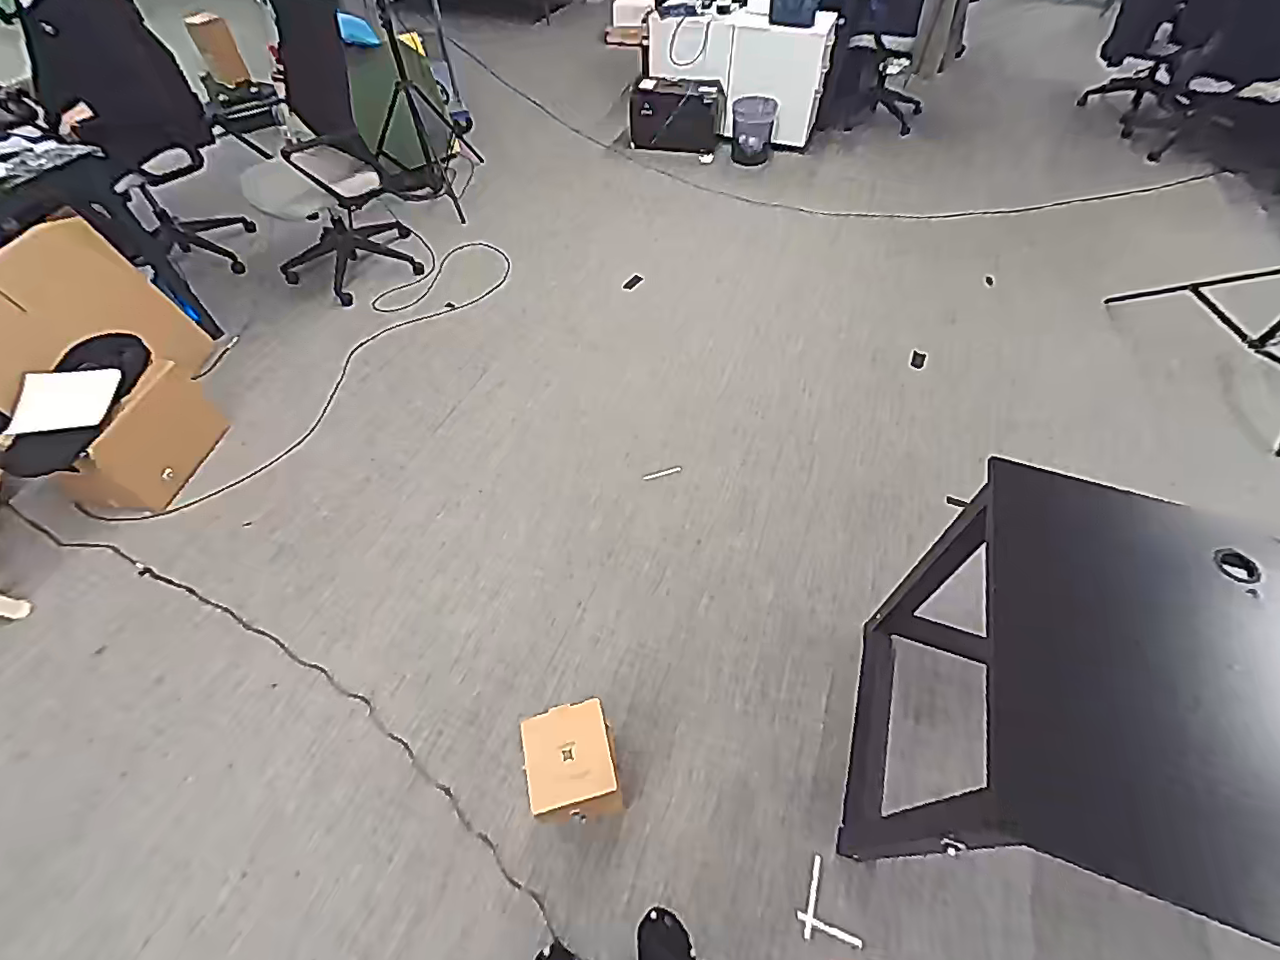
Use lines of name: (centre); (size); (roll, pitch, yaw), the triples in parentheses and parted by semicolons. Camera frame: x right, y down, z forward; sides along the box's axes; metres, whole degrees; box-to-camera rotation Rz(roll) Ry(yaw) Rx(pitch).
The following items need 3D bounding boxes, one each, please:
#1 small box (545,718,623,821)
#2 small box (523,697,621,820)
small box: (-0.134, 0.677, 1.255); (0.168, 0.176, 0.179); (-9, 53, -6)
small box: (-0.139, 0.581, 1.124); (0.168, 0.176, 0.179); (-13, 55, -8)
